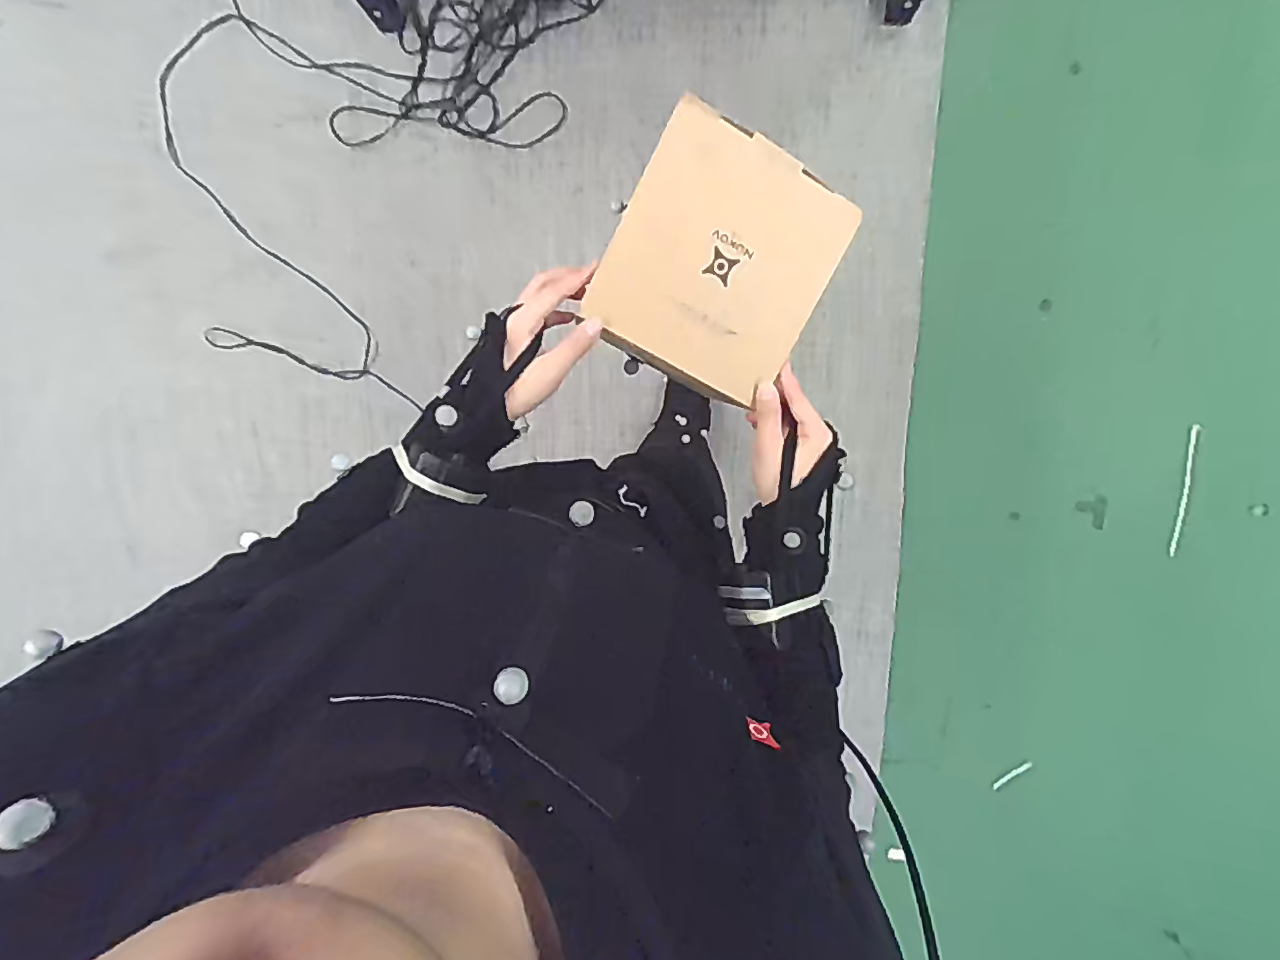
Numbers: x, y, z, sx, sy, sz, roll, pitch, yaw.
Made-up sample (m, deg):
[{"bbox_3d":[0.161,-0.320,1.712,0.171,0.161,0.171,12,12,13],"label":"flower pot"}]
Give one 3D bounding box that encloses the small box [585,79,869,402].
[{"bbox_3d":[0.056,-0.190,0.483,0.168,0.176,0.179,26,98,-12],"label":"small box"}]
